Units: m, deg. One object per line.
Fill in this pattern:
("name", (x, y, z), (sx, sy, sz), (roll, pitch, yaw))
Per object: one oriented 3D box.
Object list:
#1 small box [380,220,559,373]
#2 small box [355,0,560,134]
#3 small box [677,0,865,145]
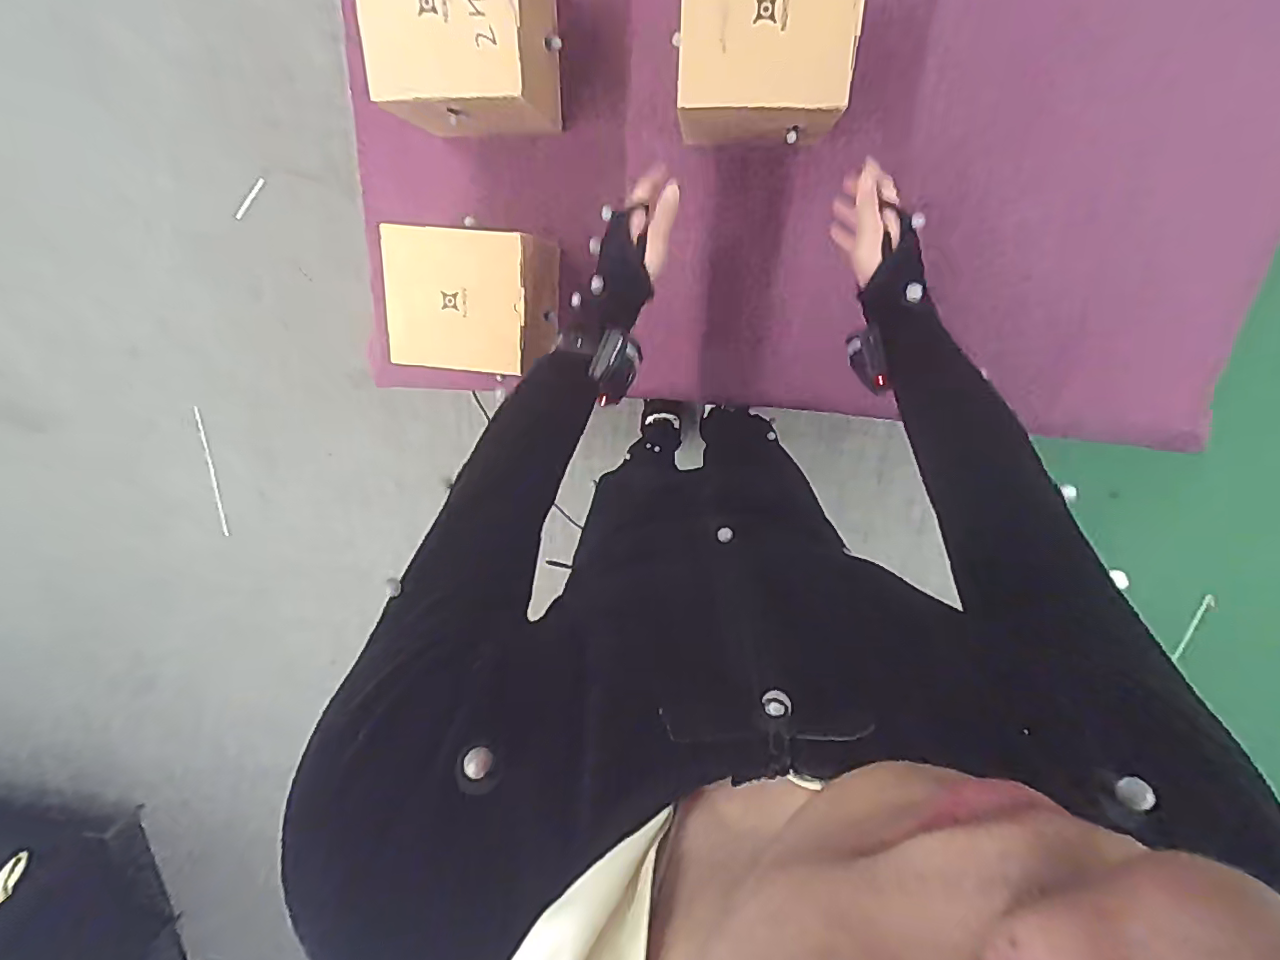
("small box", (-0.218, -0.243, 0.727), (0.179, 0.176, 0.168), (6, 109, 4))
("small box", (-0.199, -0.514, 0.624), (0.179, 0.176, 0.168), (3, 111, 5))
("small box", (0.137, -0.484, 0.596), (0.179, 0.176, 0.168), (5, 110, 6))
